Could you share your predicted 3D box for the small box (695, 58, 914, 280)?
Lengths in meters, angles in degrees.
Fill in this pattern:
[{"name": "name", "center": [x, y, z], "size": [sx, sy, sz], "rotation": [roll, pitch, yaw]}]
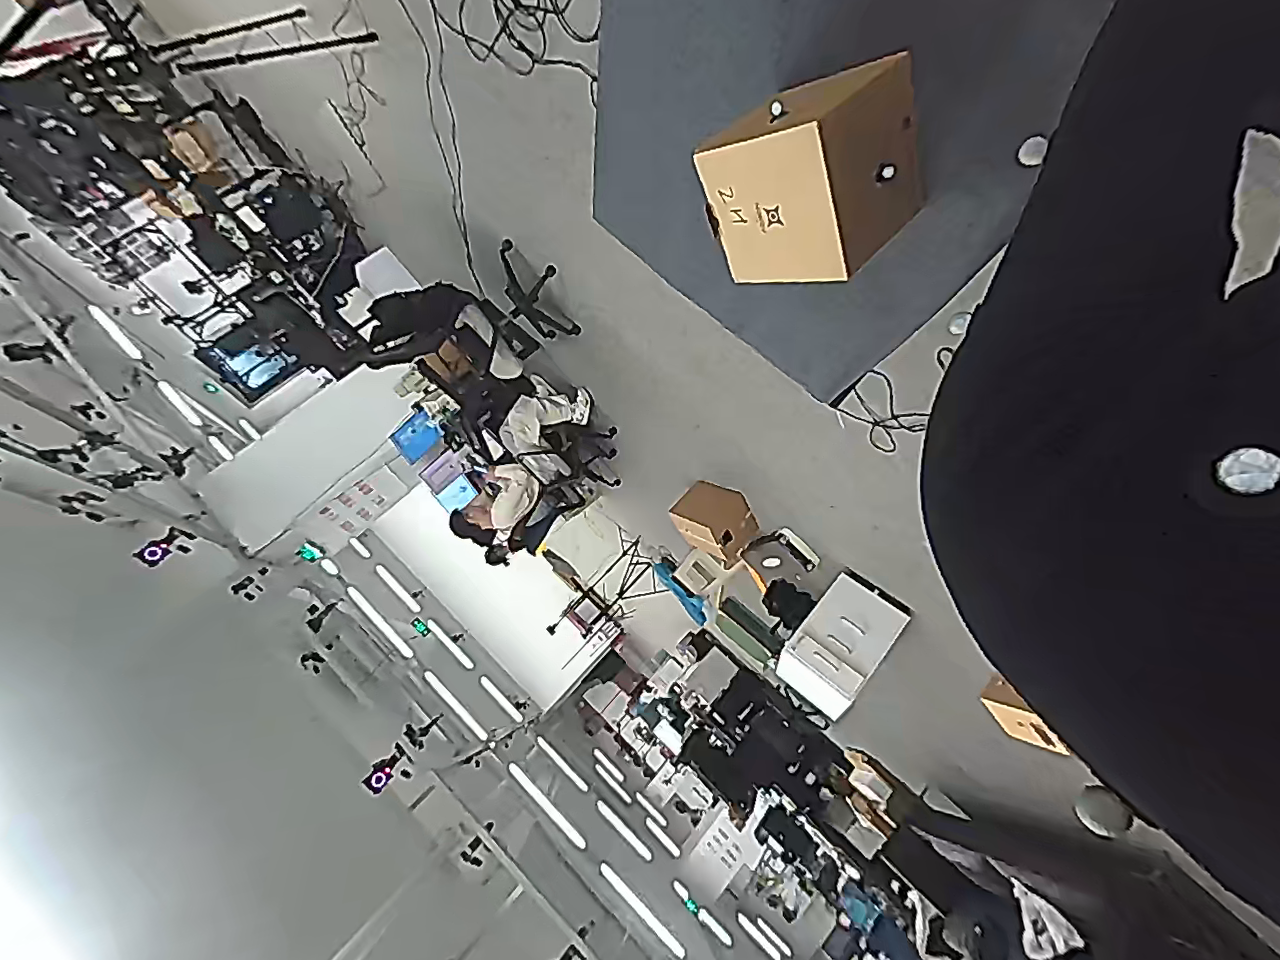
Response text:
[{"name": "small box", "center": [0.203, -0.358, 0.643], "size": [0.179, 0.176, 0.168], "rotation": [24, 151, 48]}]
